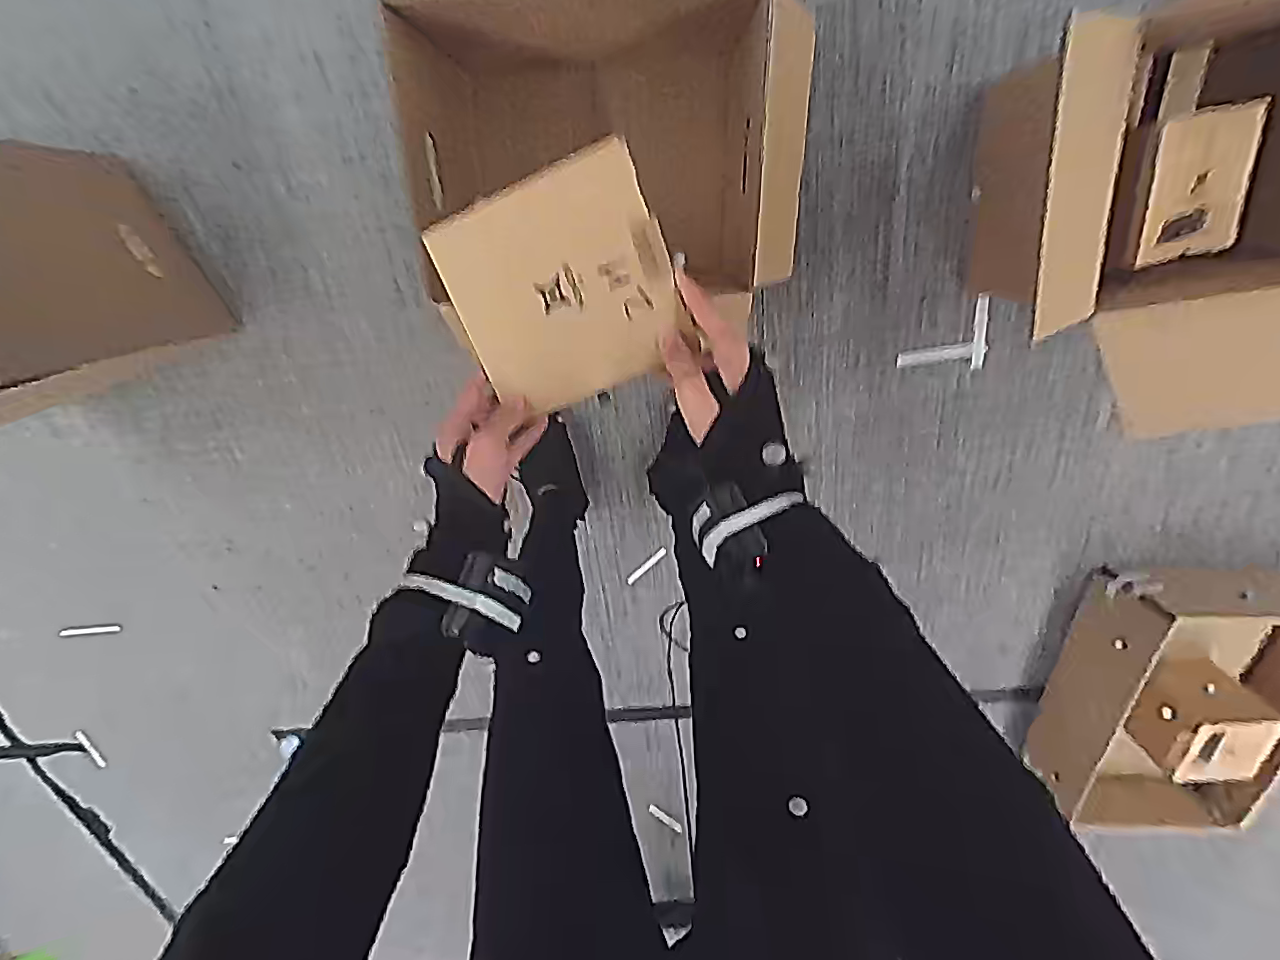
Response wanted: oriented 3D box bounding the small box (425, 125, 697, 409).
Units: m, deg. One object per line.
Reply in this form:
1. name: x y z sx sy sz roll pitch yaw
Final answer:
1. small box: -0.056 -0.180 0.504 0.179 0.176 0.168 -21 103 9
